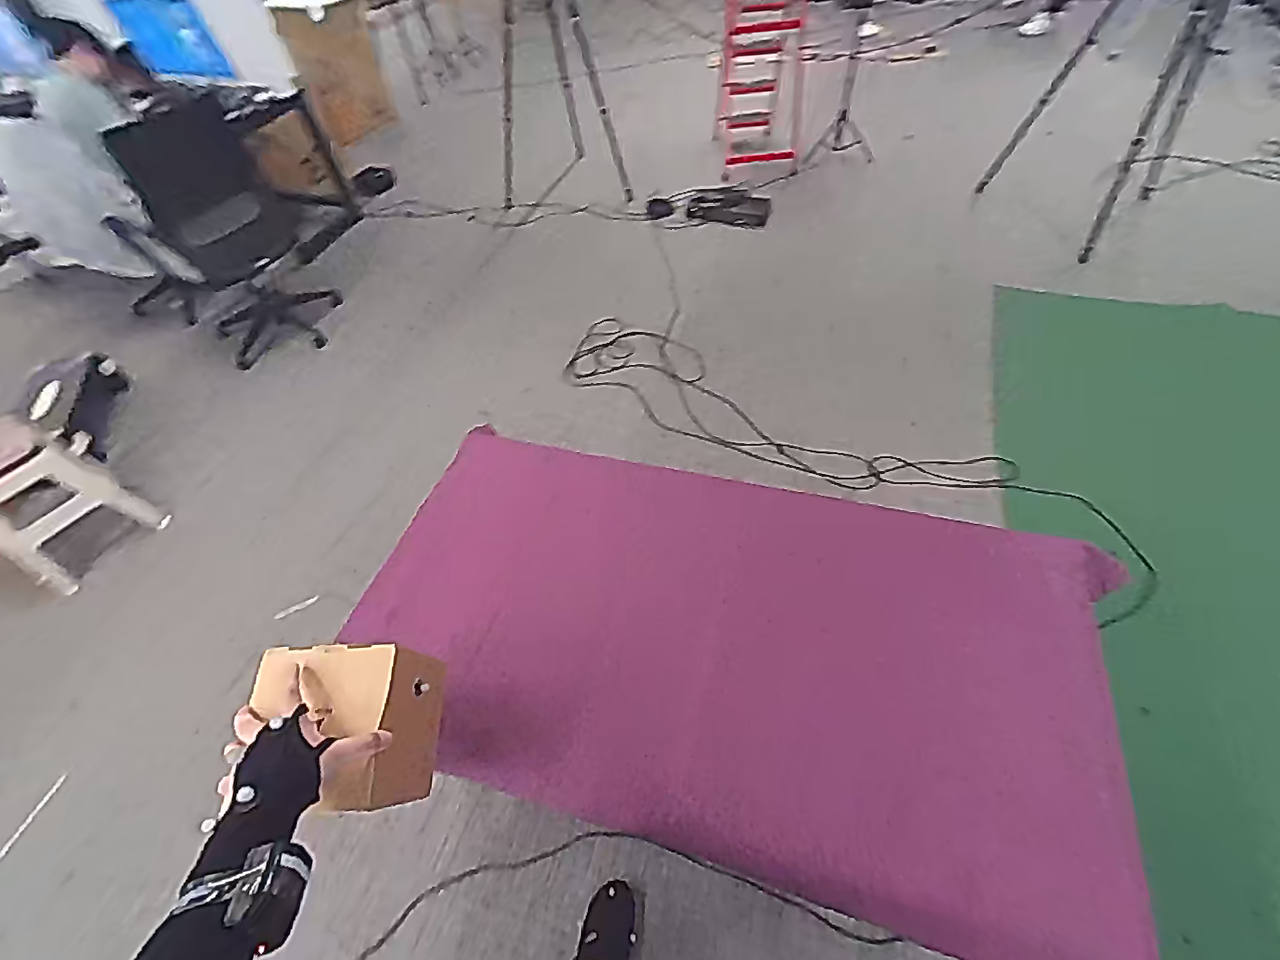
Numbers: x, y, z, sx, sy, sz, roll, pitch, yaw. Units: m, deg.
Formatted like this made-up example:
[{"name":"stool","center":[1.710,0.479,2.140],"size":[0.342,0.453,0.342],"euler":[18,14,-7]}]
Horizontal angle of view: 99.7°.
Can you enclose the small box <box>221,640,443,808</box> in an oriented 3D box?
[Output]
[{"name":"small box","center":[-0.368,0.309,0.688],"size":[0.168,0.176,0.179],"euler":[-2,64,3]}]
